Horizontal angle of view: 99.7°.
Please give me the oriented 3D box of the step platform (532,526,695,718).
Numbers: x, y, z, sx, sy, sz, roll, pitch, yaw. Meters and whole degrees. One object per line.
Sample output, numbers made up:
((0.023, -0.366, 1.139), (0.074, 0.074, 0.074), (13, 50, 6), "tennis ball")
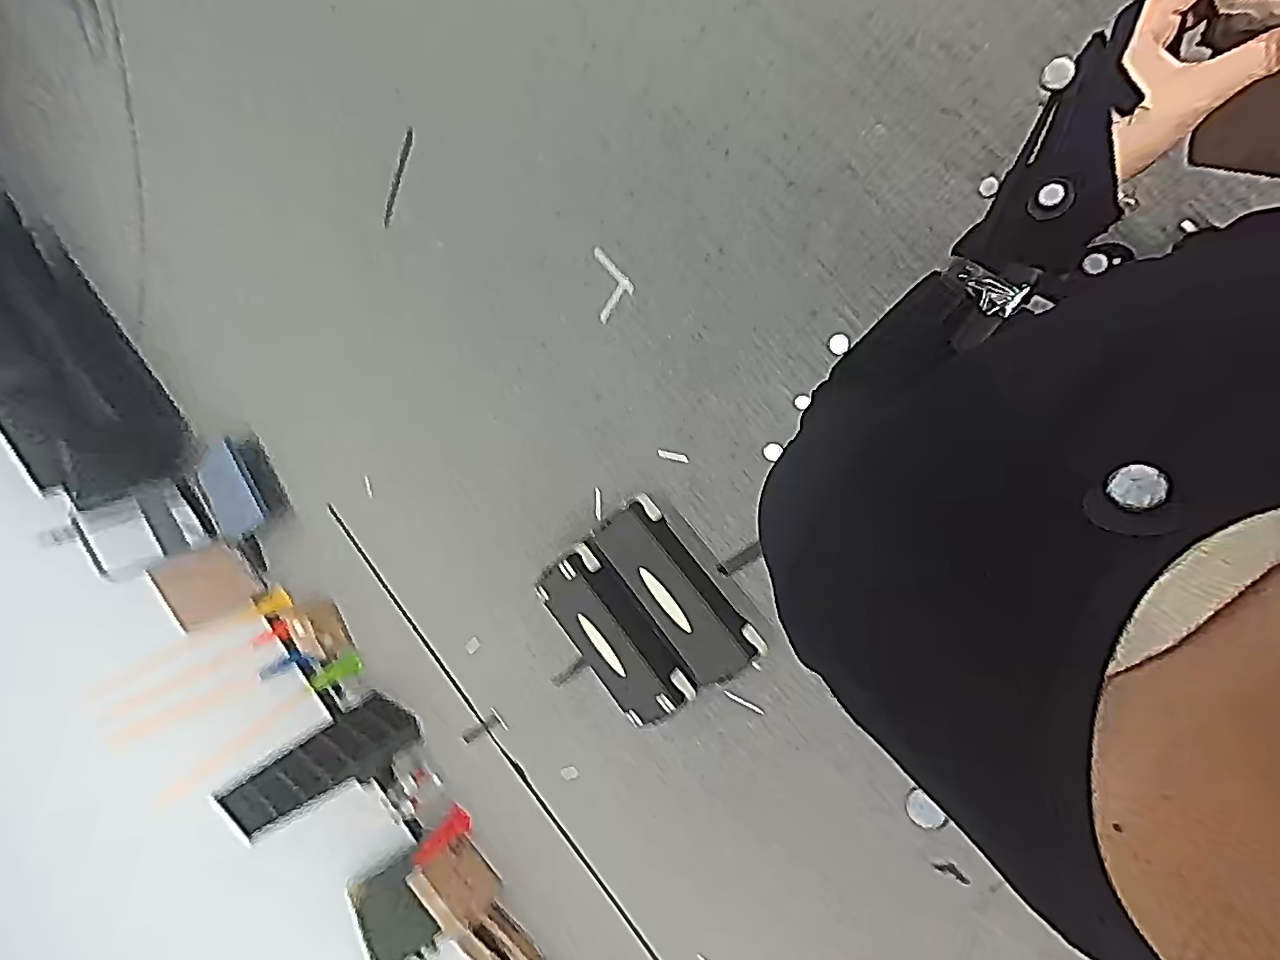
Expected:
((-0.104, 0.521, 1.965), (0.286, 0.204, 0.684), (-37, 85, 40), "step platform")
